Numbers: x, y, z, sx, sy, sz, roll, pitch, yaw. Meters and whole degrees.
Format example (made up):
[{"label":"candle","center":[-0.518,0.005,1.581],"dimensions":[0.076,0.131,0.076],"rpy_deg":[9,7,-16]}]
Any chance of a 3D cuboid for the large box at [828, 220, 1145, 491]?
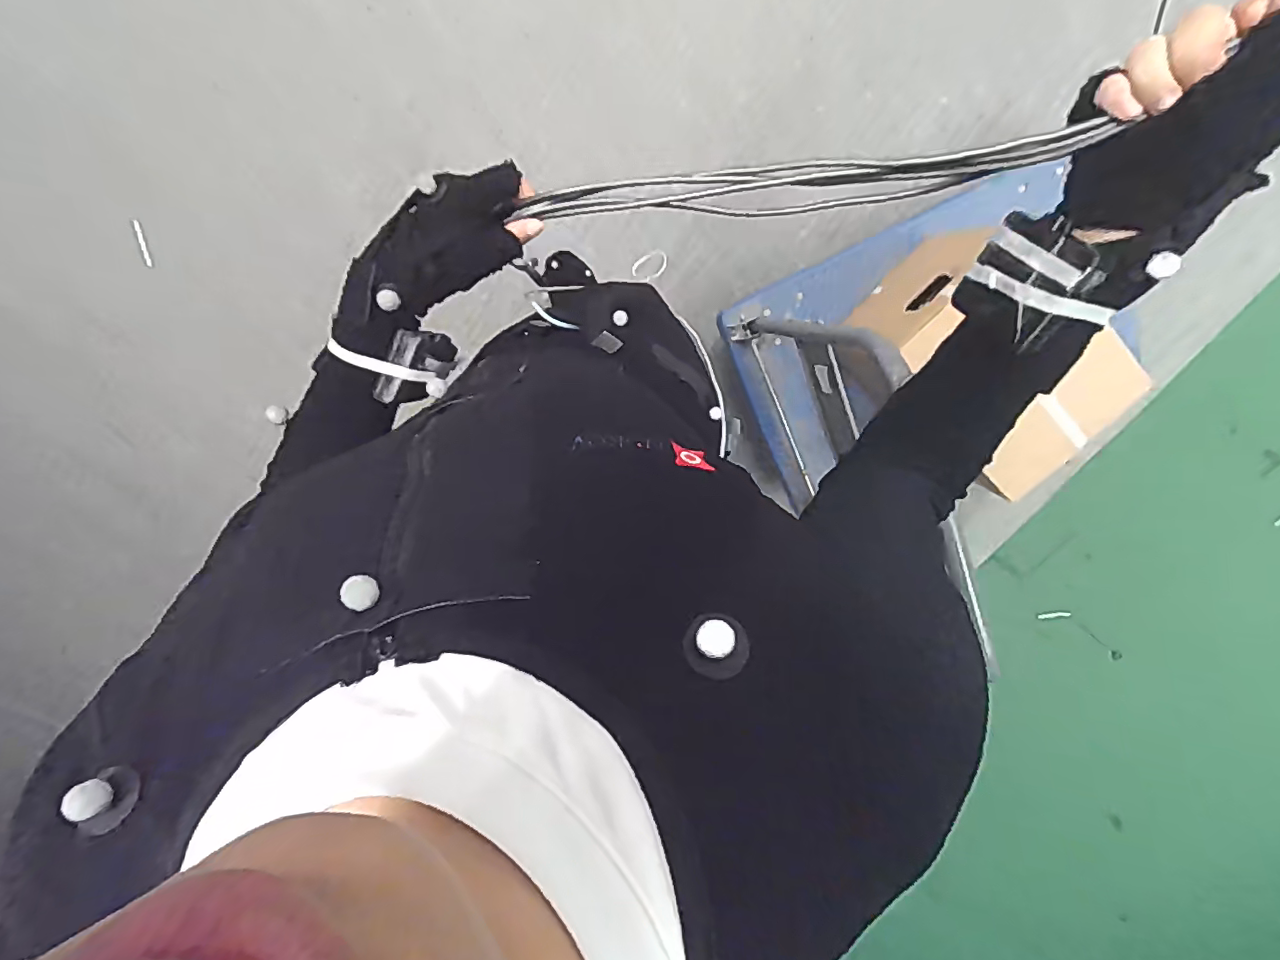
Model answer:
[{"label":"large box","center":[0.672,-0.252,1.112],"dimensions":[0.408,0.320,0.320],"rpy_deg":[42,104,-14]}]
